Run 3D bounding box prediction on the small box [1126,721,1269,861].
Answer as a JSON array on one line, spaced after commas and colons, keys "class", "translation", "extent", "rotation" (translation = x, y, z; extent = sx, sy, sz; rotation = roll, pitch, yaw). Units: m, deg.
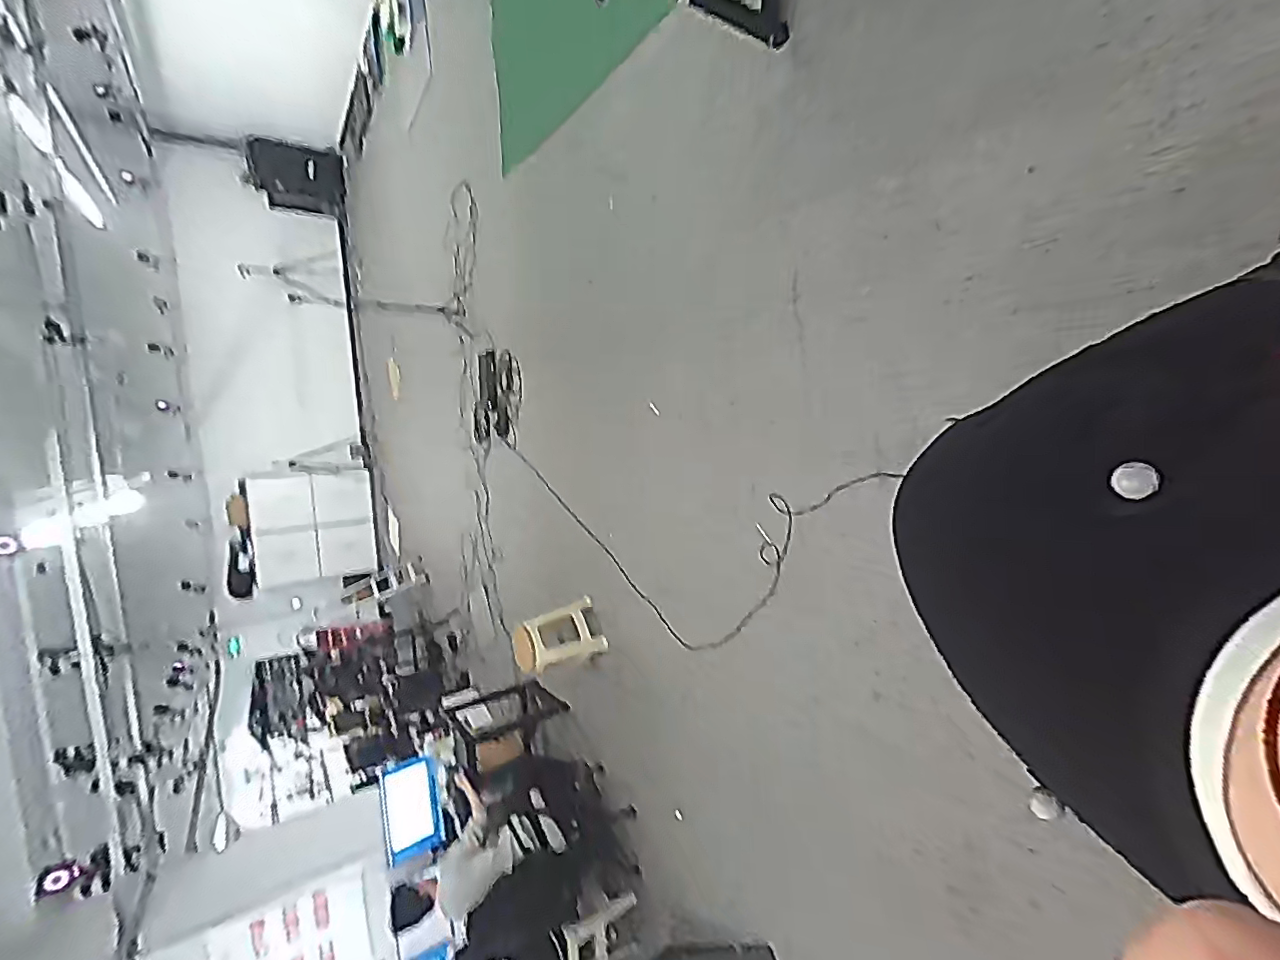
[{"class": "small box", "translation": [1.164, 0.633, 1.132], "extent": [0.179, 0.176, 0.168], "rotation": [8, 103, 55]}]
